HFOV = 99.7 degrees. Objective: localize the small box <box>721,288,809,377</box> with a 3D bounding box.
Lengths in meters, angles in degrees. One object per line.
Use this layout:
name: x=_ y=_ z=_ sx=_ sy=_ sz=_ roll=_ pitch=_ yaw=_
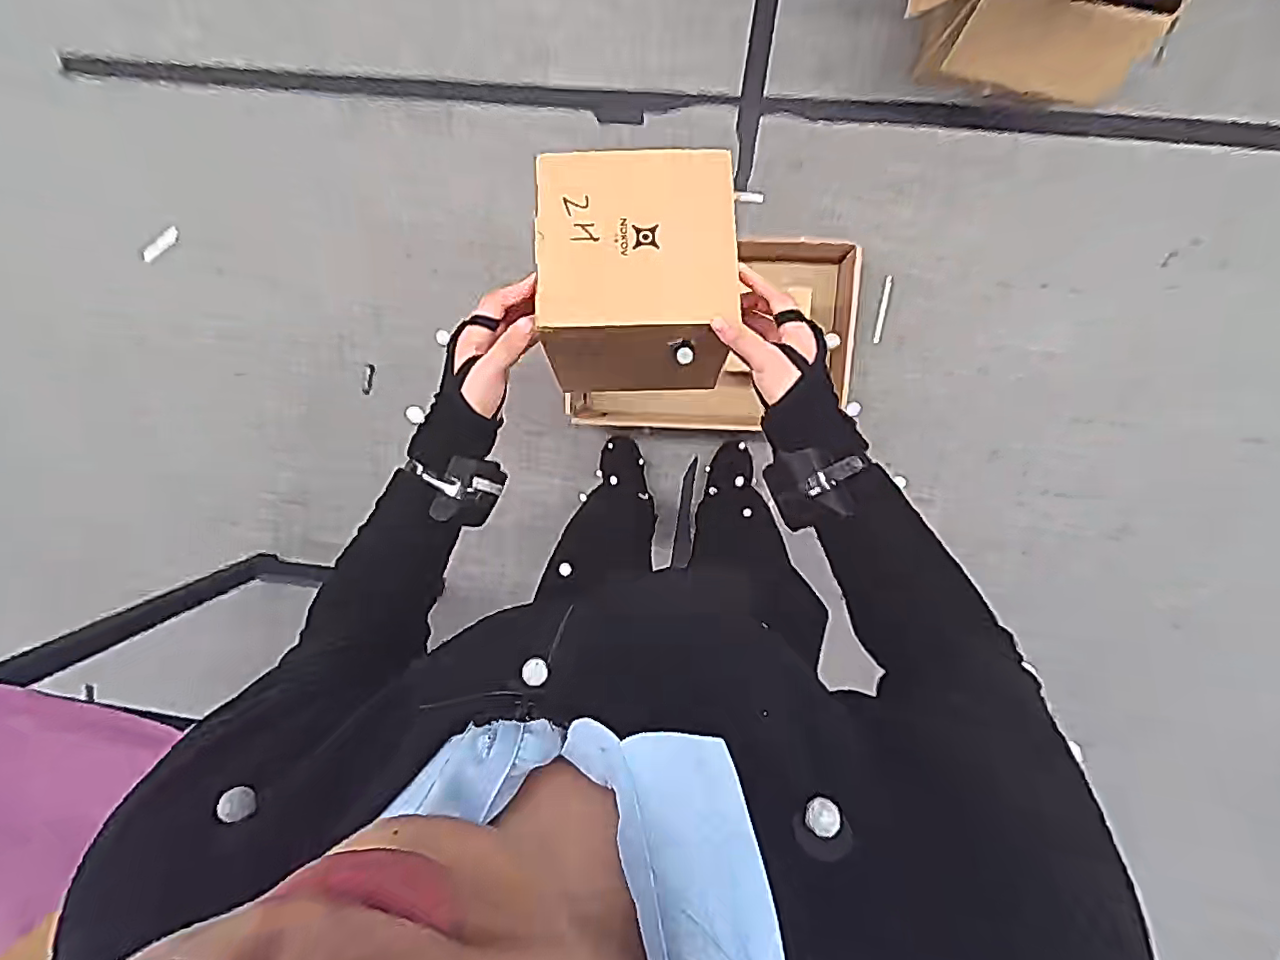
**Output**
small box: x=0.271 y=-0.323 z=1.206 sx=0.168 sy=0.176 sz=0.179 roll=3 pitch=101 yaw=6
